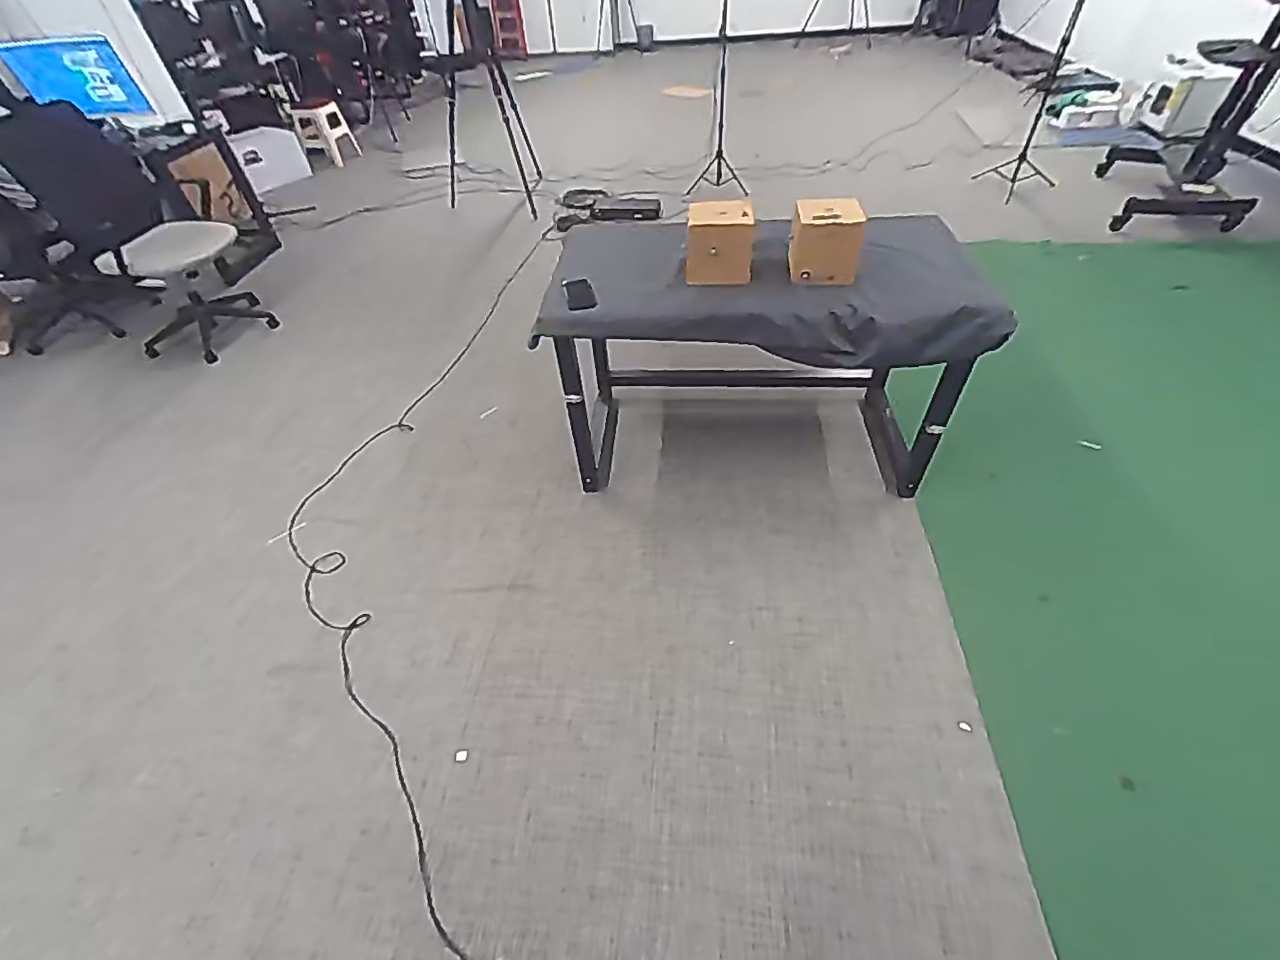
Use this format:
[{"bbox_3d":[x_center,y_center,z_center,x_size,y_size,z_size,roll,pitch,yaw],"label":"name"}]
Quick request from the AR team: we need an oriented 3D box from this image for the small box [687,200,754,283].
[{"bbox_3d":[0.225,-0.672,1.532,0.179,0.176,0.168,1,47,6],"label":"small box"}]

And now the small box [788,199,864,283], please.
[{"bbox_3d":[0.509,-0.661,1.501,0.168,0.176,0.179,3,46,6],"label":"small box"}]
